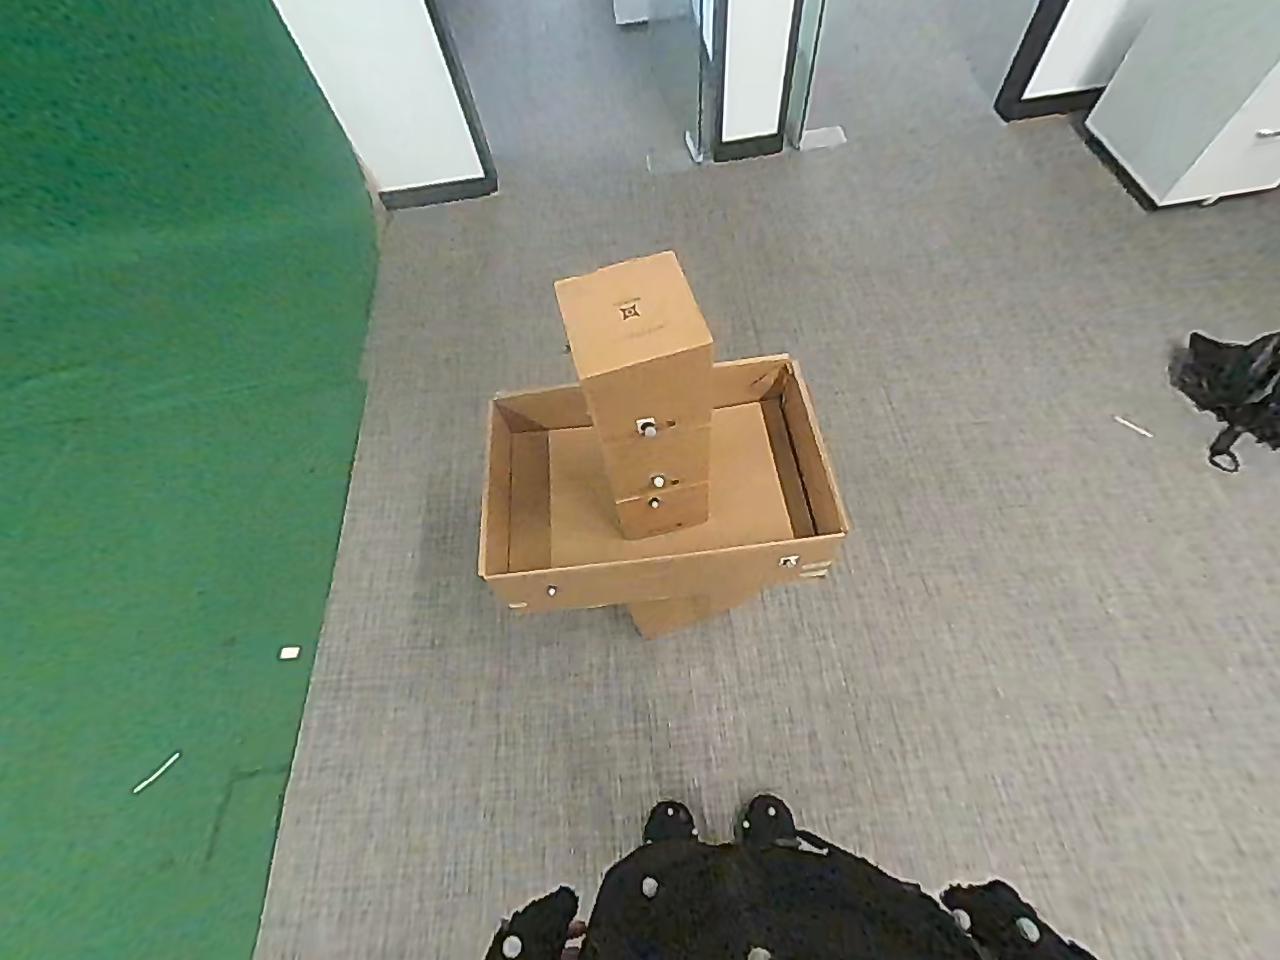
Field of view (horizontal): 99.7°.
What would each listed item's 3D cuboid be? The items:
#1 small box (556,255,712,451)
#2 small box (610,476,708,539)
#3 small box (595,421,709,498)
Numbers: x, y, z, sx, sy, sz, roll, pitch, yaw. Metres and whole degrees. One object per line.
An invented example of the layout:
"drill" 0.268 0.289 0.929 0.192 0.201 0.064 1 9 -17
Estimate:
"small box" -0.006 -0.169 0.749 0.168 0.176 0.179 -17 61 -1
"small box" 0.028 -0.012 1.032 0.168 0.176 0.179 -14 60 0
"small box" 0.012 -0.094 0.890 0.168 0.176 0.179 -13 61 0
